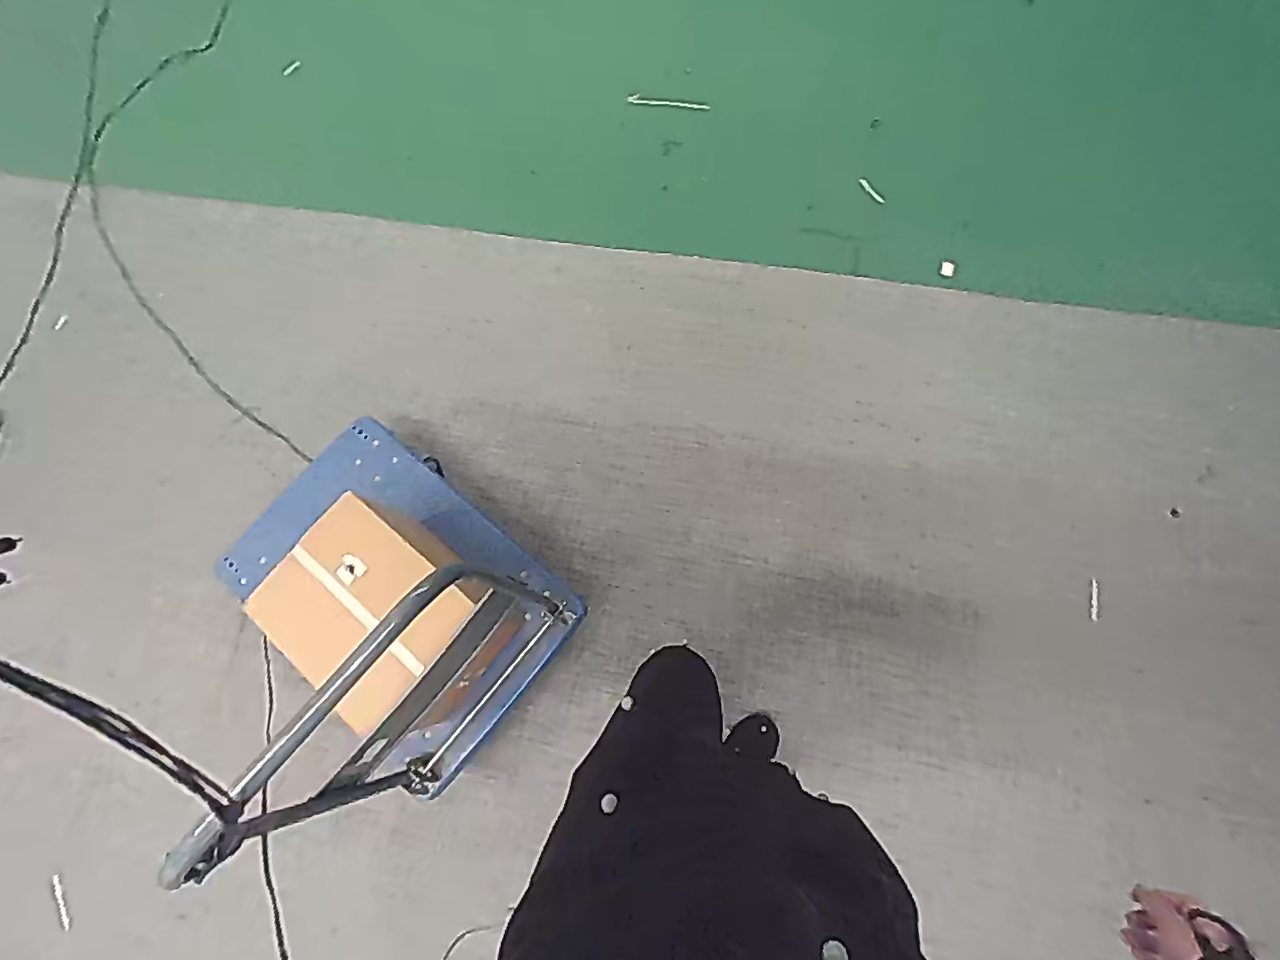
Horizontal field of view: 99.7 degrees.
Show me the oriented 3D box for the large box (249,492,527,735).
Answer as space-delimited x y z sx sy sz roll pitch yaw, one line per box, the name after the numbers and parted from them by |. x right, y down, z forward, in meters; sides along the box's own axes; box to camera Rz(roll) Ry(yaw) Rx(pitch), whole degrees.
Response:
-0.534 0.292 1.214 0.408 0.320 0.320 37 80 15 | large box
